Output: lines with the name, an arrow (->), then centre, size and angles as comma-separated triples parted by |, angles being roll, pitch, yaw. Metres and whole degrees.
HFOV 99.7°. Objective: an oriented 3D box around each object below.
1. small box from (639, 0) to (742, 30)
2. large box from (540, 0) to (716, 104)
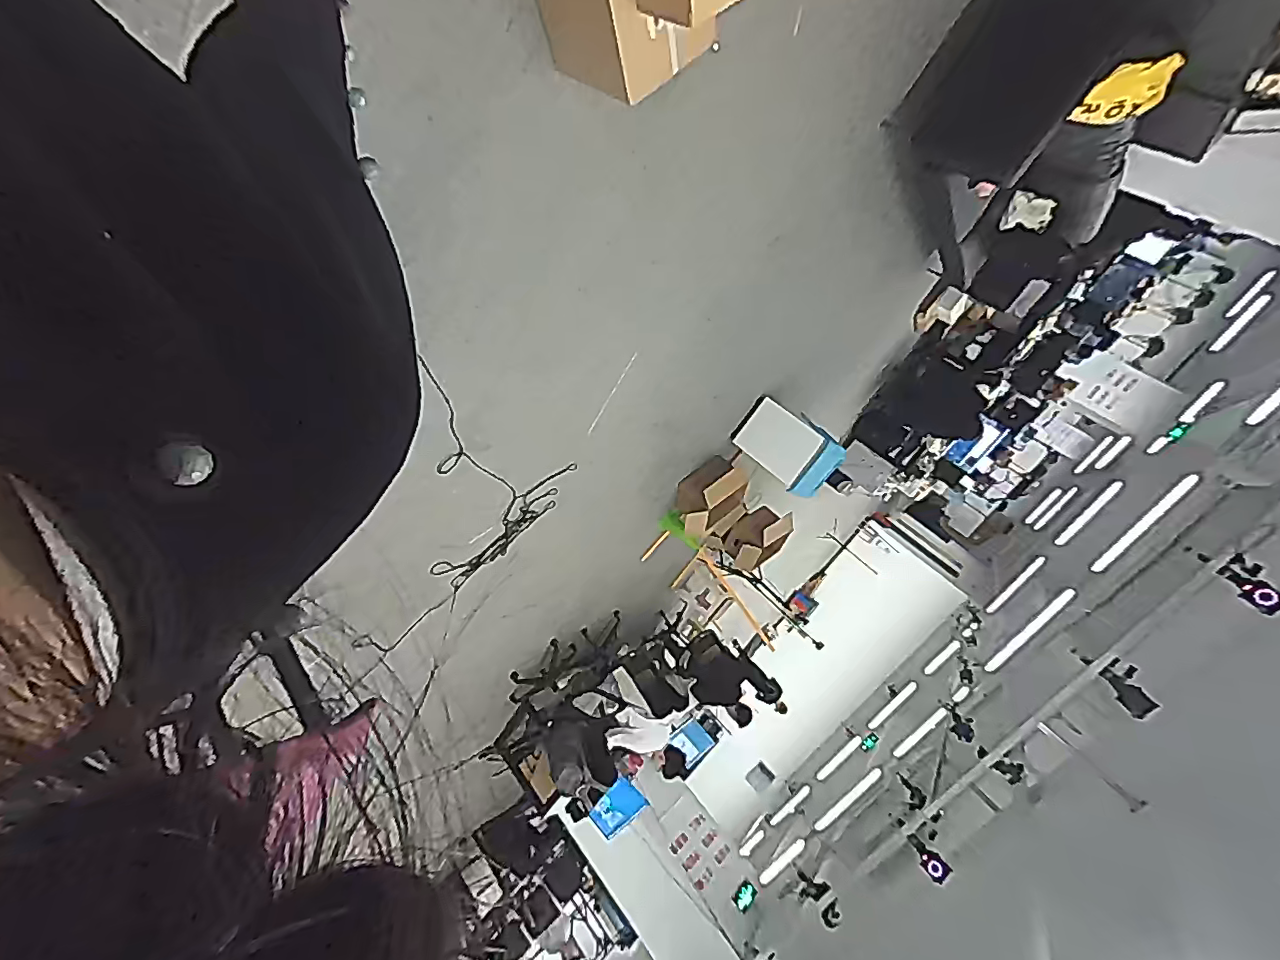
small box -> 0.109, -1.081, 1.112 | 0.179, 0.176, 0.168 | -41, 154, -13
large box -> -0.049, -1.207, 1.255 | 0.320, 0.320, 0.408 | -42, 155, -9
